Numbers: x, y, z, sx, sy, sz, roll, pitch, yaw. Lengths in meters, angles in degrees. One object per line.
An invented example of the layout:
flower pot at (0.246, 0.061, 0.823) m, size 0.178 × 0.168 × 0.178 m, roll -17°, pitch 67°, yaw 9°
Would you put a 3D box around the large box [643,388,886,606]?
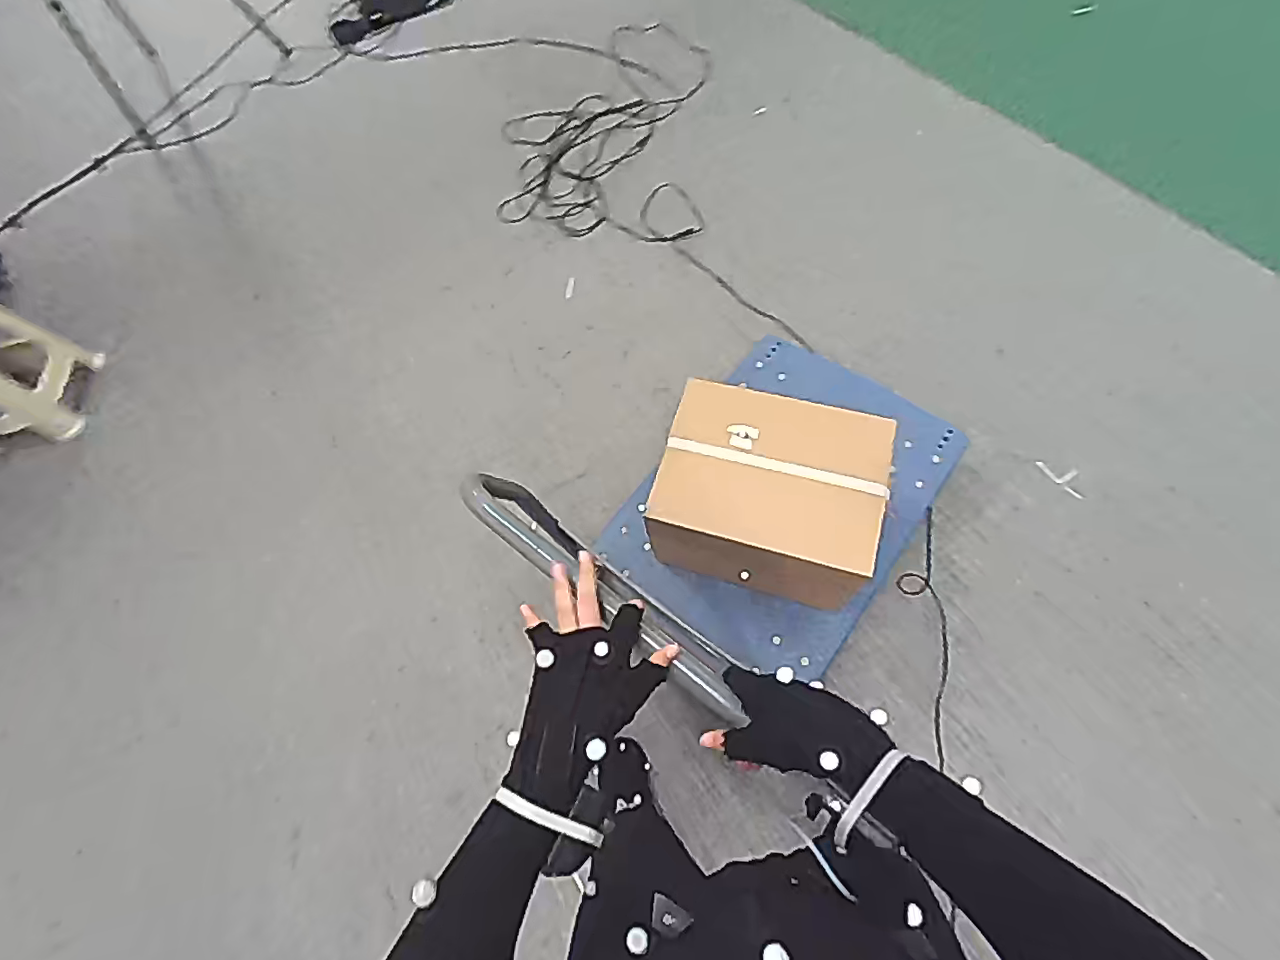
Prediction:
large box at (0.256, 0.046, 1.144) m, size 0.408 × 0.320 × 0.320 m, roll 13°, pitch 67°, yaw 14°
